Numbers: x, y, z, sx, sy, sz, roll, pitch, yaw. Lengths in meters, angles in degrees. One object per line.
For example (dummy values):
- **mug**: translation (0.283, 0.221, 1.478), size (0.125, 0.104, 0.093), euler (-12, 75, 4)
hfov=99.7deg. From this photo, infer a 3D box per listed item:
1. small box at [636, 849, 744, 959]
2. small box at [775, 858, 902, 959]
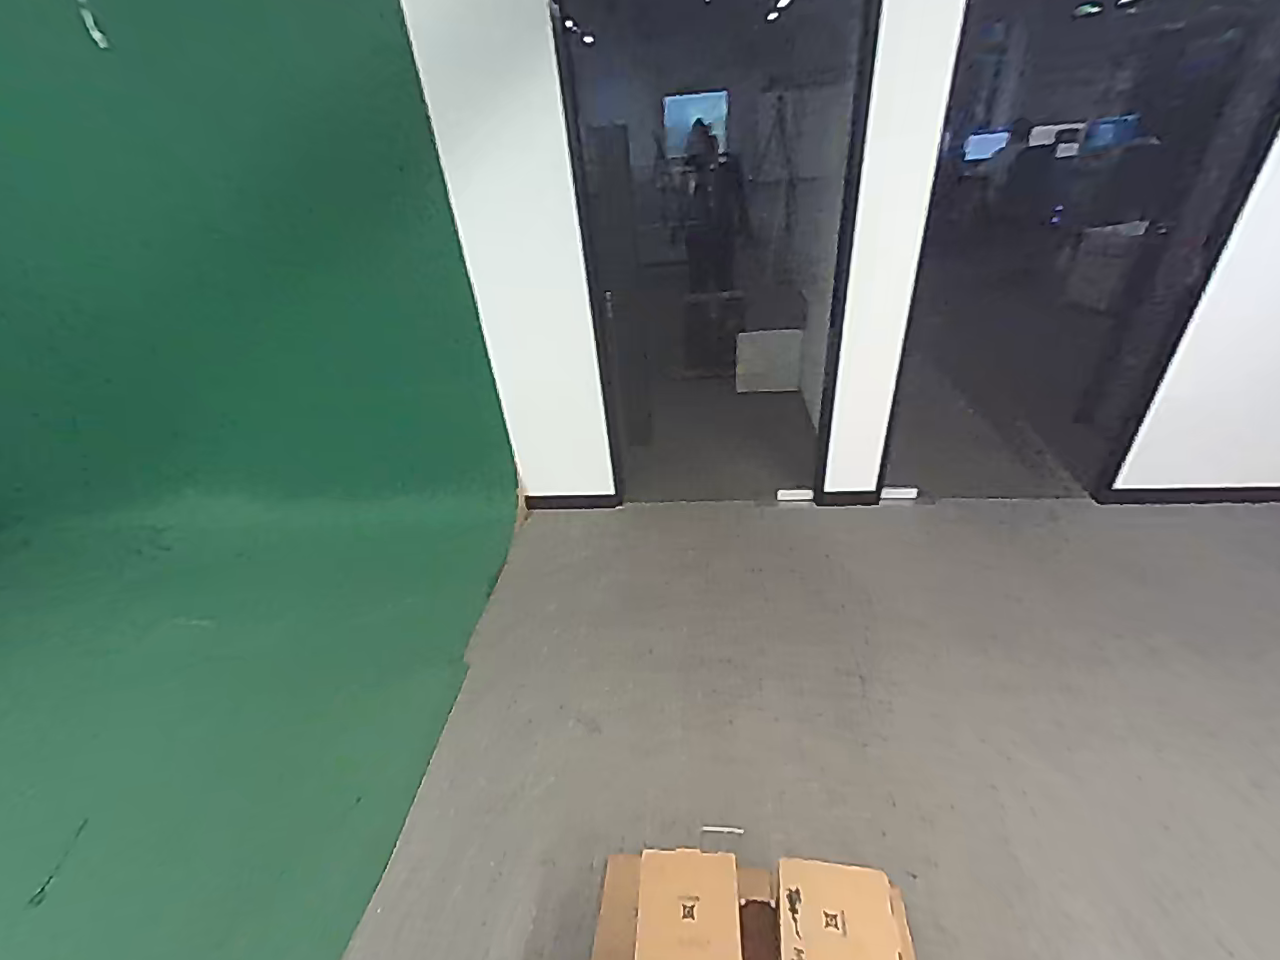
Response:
- **small box**: translation (0.086, 0.763, 0.914), size (0.168, 0.176, 0.179), euler (-2, 32, 6)
- **small box**: translation (0.315, 0.759, 0.880), size (0.179, 0.176, 0.168), euler (2, 33, 12)
